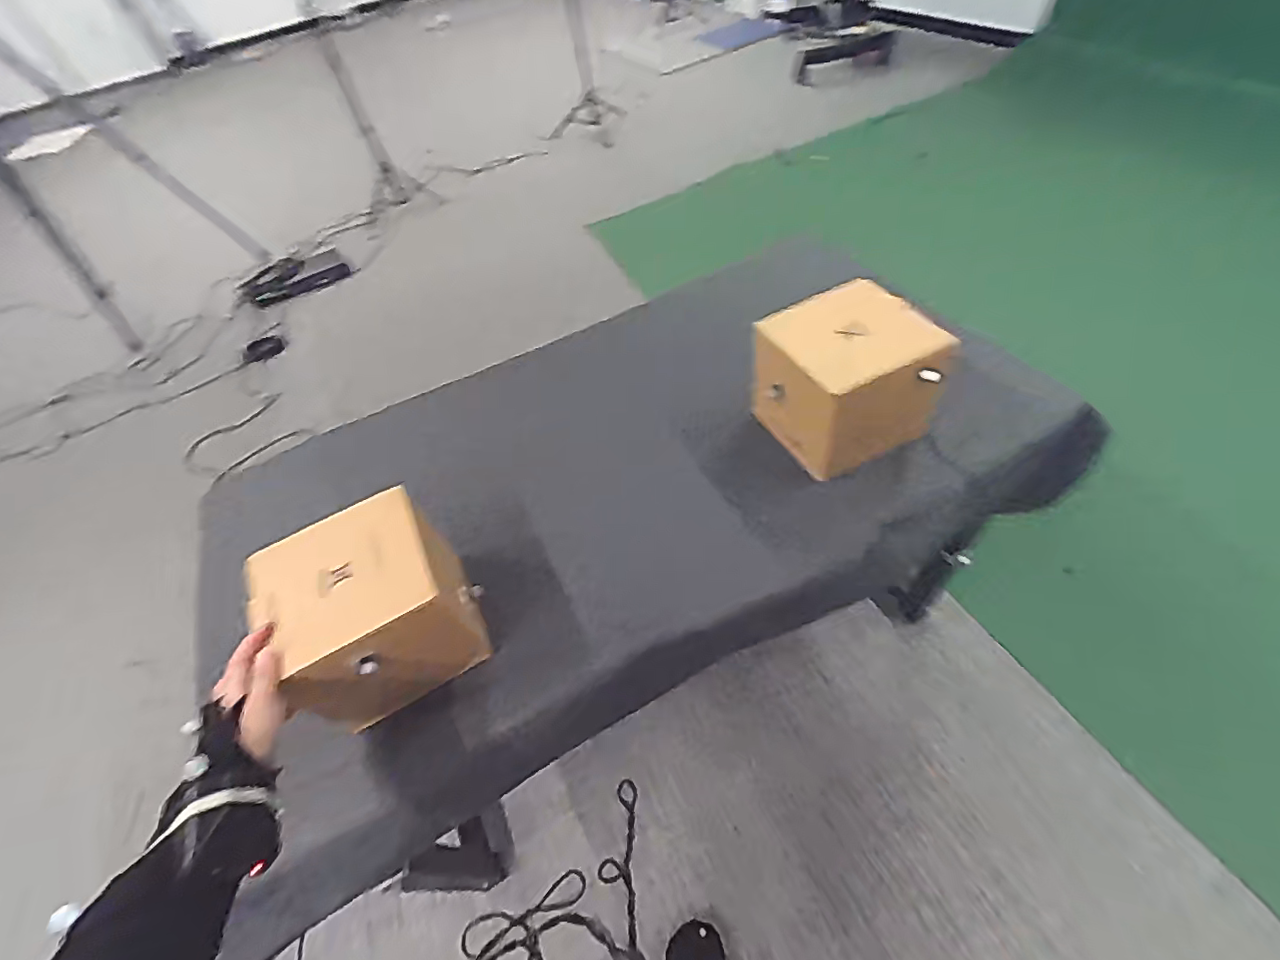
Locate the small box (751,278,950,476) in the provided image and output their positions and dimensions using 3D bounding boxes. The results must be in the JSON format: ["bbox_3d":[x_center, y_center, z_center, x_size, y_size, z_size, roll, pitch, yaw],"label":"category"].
[{"bbox_3d":[0.268,-0.134,0.730,0.179,0.176,0.168,-25,52,-10],"label":"small box"}]

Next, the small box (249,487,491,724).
[{"bbox_3d":[-0.298,0.147,0.615,0.179,0.176,0.168,-28,54,-13],"label":"small box"}]
